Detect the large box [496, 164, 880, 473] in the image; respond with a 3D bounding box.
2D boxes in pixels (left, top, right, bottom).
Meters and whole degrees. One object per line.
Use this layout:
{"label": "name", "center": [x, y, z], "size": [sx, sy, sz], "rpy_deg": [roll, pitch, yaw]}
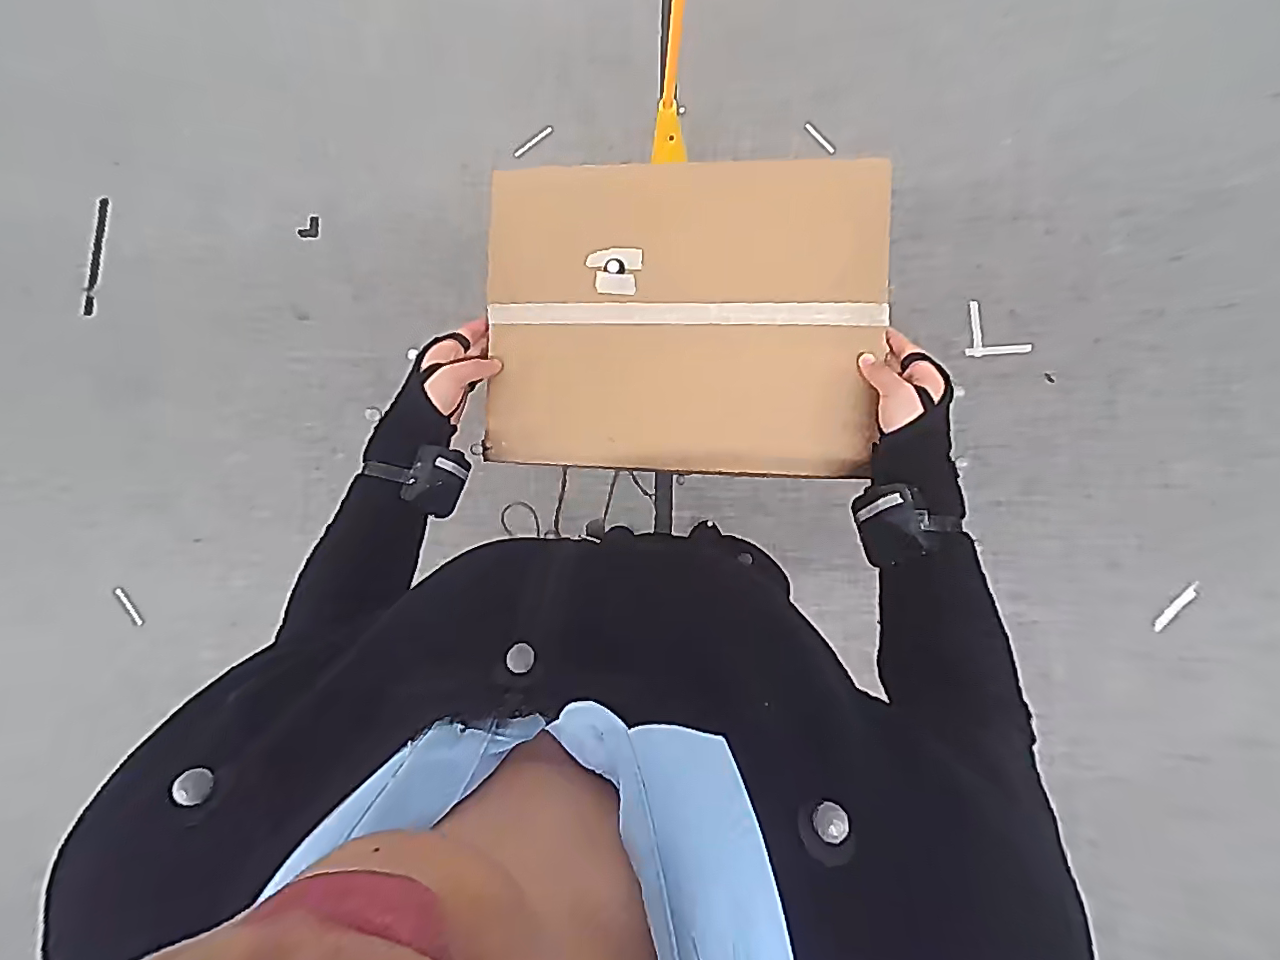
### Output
{"label": "large box", "center": [0.063, -0.168, 0.713], "size": [0.408, 0.320, 0.320], "rpy_deg": [2, 89, 8]}
